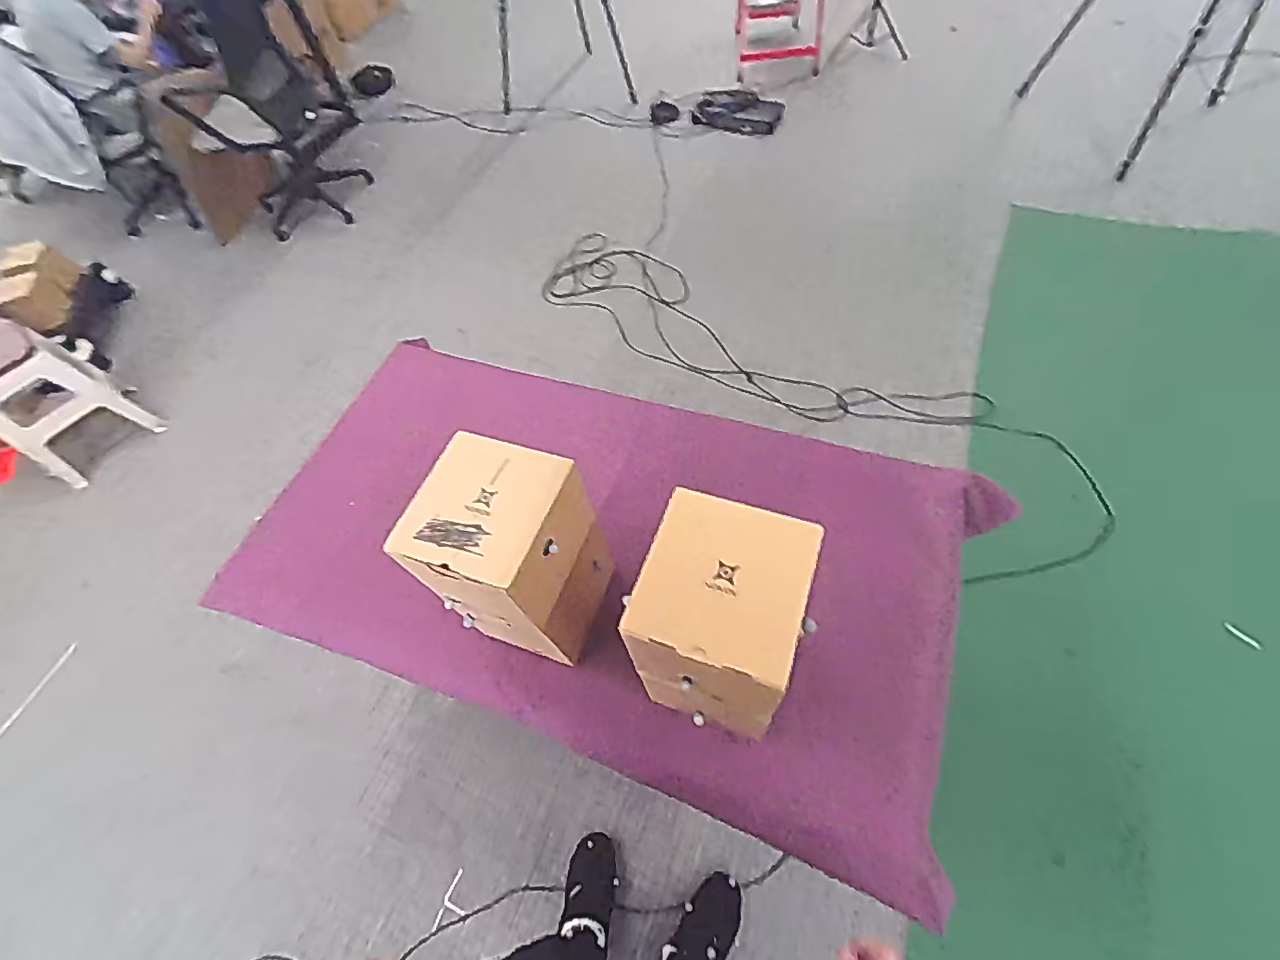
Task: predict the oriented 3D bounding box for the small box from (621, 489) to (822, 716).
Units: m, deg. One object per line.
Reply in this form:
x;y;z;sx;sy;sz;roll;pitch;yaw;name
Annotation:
0.092;0.143;0.615;0.168;0.176;0.179;16;61;16;small box

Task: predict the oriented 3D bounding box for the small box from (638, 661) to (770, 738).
0.109;0.232;0.750;0.168;0.176;0.179;16;61;16;small box

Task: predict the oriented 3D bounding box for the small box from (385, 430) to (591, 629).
-0.175;0.068;0.692;0.168;0.176;0.179;16;60;16;small box
